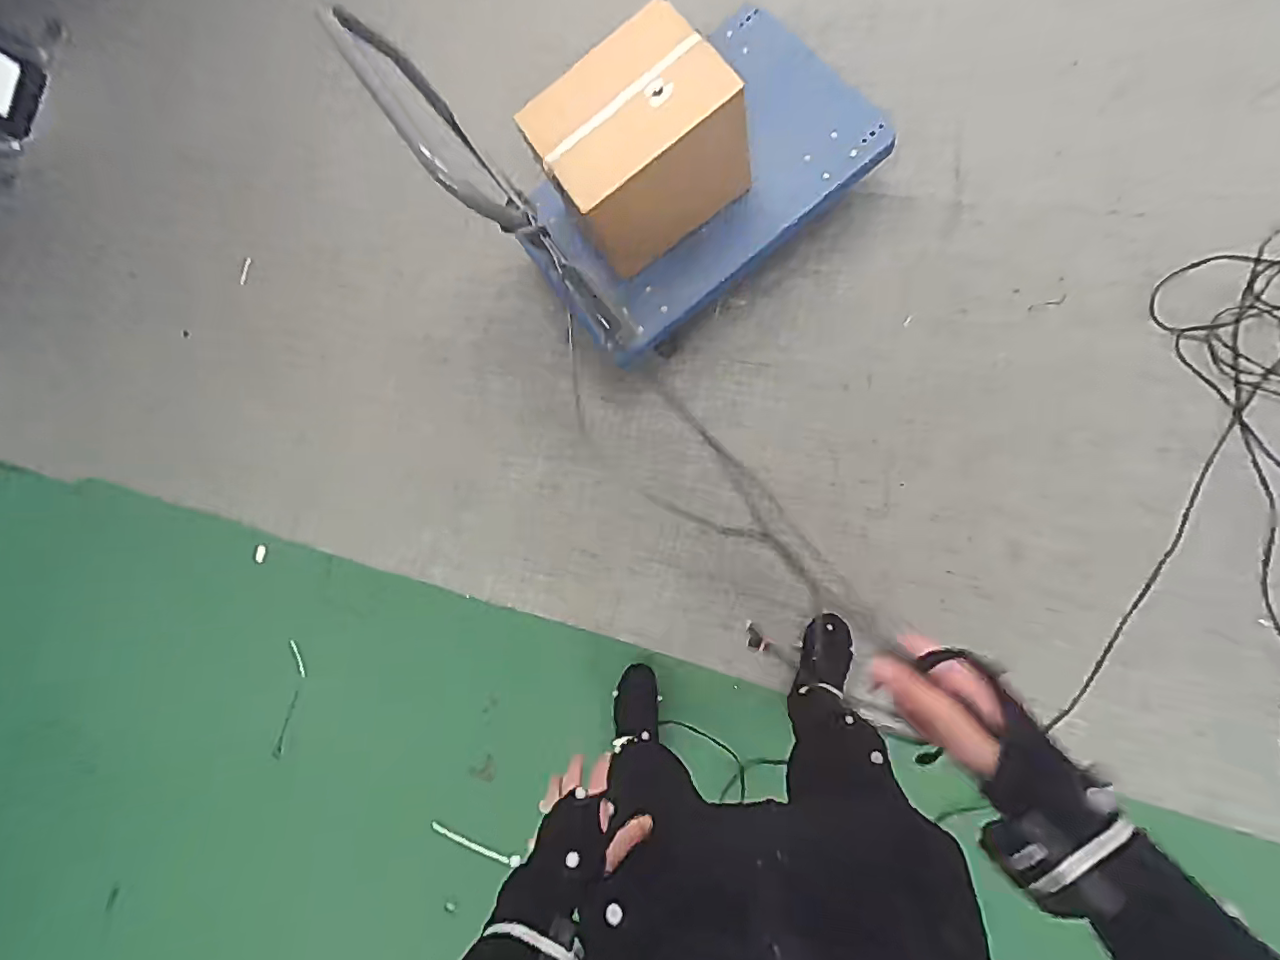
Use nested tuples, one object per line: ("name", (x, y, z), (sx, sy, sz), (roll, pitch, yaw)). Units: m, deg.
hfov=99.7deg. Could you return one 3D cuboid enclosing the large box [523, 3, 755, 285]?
("large box", (0.015, -0.752, 1.267), (0.408, 0.320, 0.320), (-35, 76, 7))
